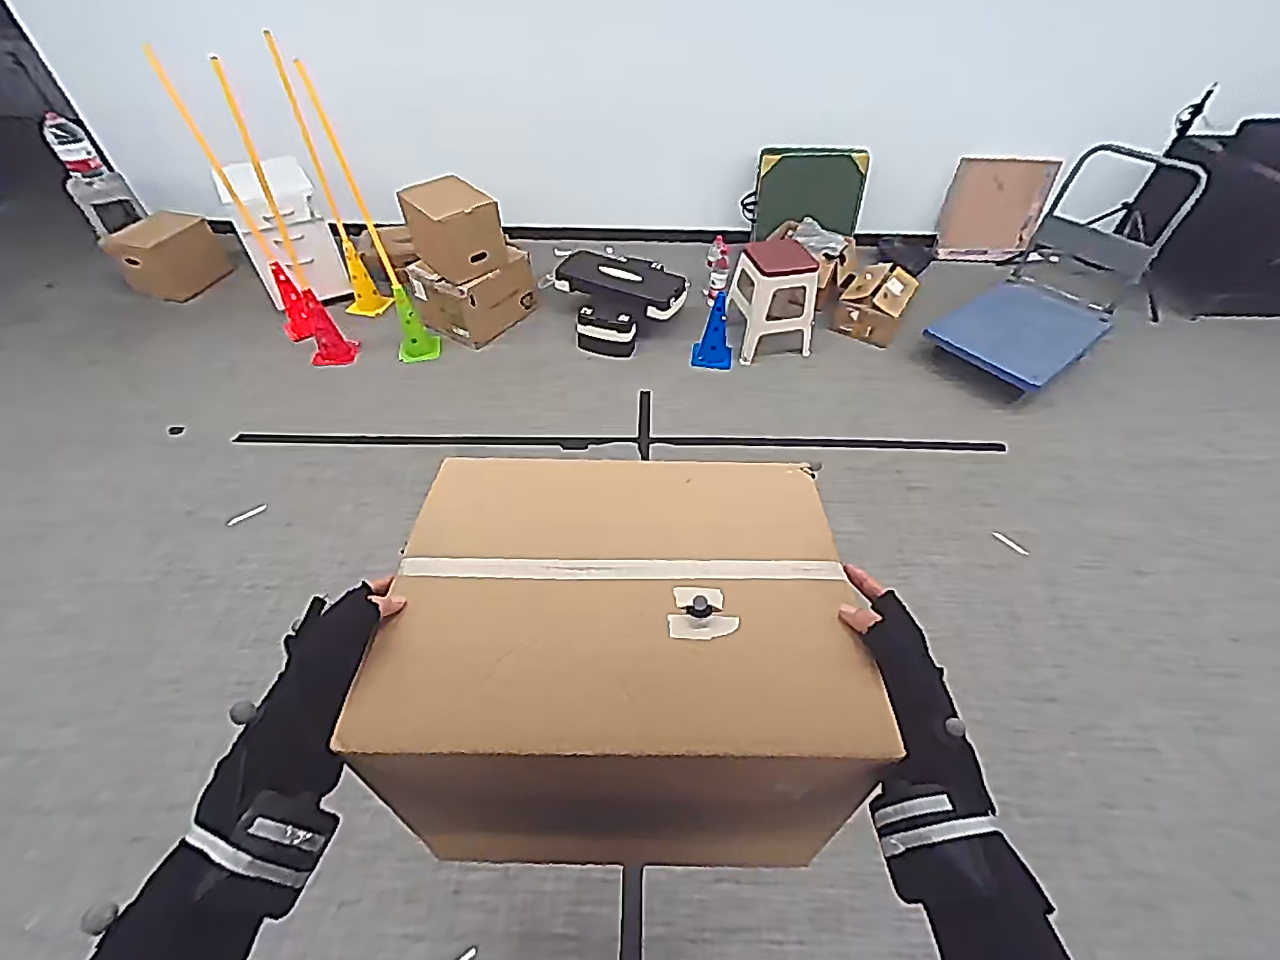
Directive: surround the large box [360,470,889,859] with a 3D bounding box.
[{"bbox_3d":[-0.014,0.203,0.608,0.408,0.320,0.320,1,43,0],"label":"large box"}]
